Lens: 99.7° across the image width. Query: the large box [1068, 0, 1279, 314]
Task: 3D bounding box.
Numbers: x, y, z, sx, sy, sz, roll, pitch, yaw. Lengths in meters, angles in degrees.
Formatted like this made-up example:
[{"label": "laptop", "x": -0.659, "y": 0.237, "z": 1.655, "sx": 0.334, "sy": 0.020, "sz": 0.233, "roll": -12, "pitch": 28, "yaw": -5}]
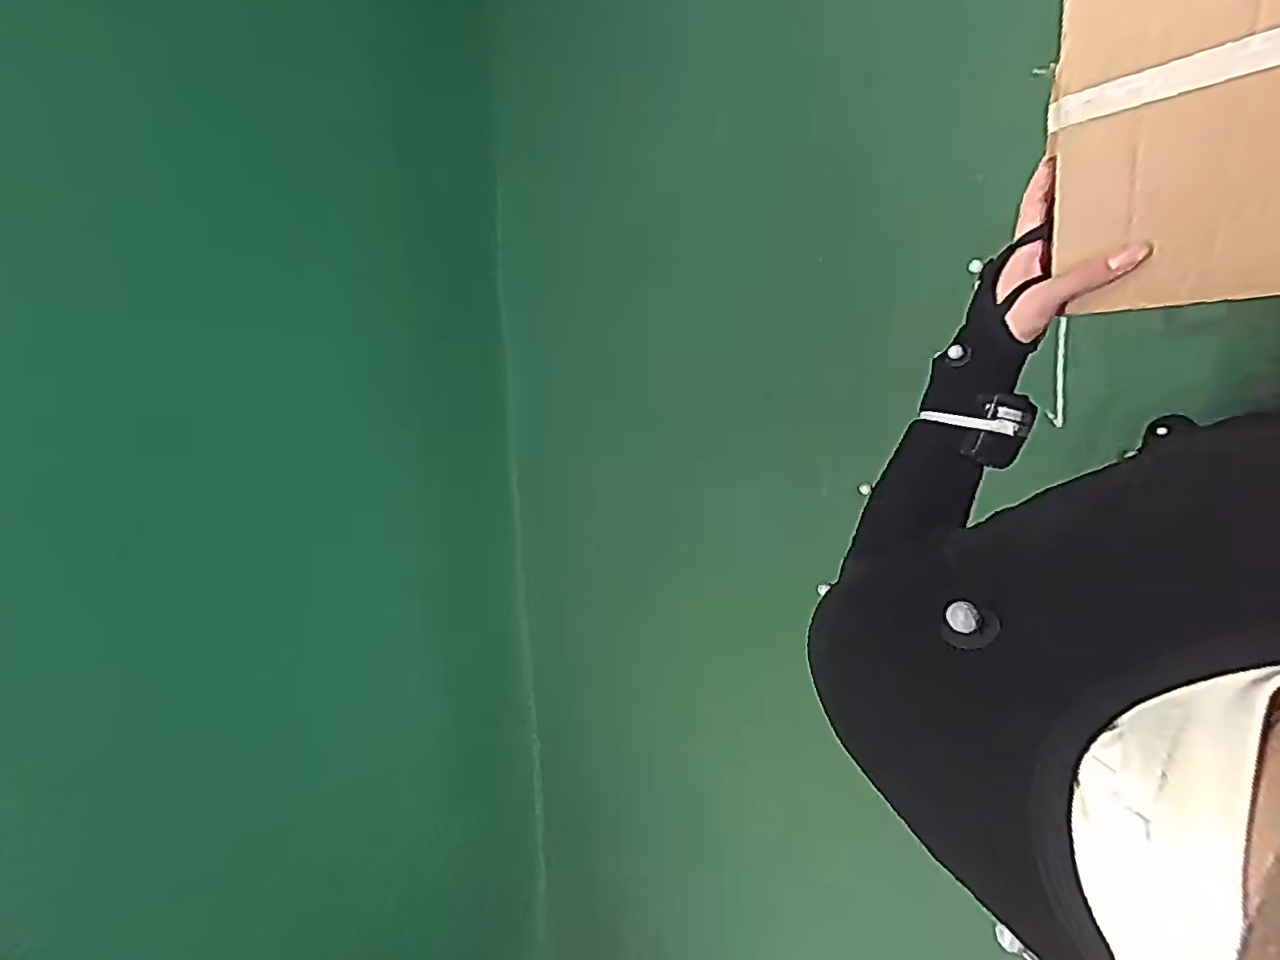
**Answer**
[{"label": "large box", "x": 0.588, "y": -0.314, "z": 0.394, "sx": 0.408, "sy": 0.320, "sz": 0.320, "roll": 7, "pitch": 112, "yaw": 43}]
